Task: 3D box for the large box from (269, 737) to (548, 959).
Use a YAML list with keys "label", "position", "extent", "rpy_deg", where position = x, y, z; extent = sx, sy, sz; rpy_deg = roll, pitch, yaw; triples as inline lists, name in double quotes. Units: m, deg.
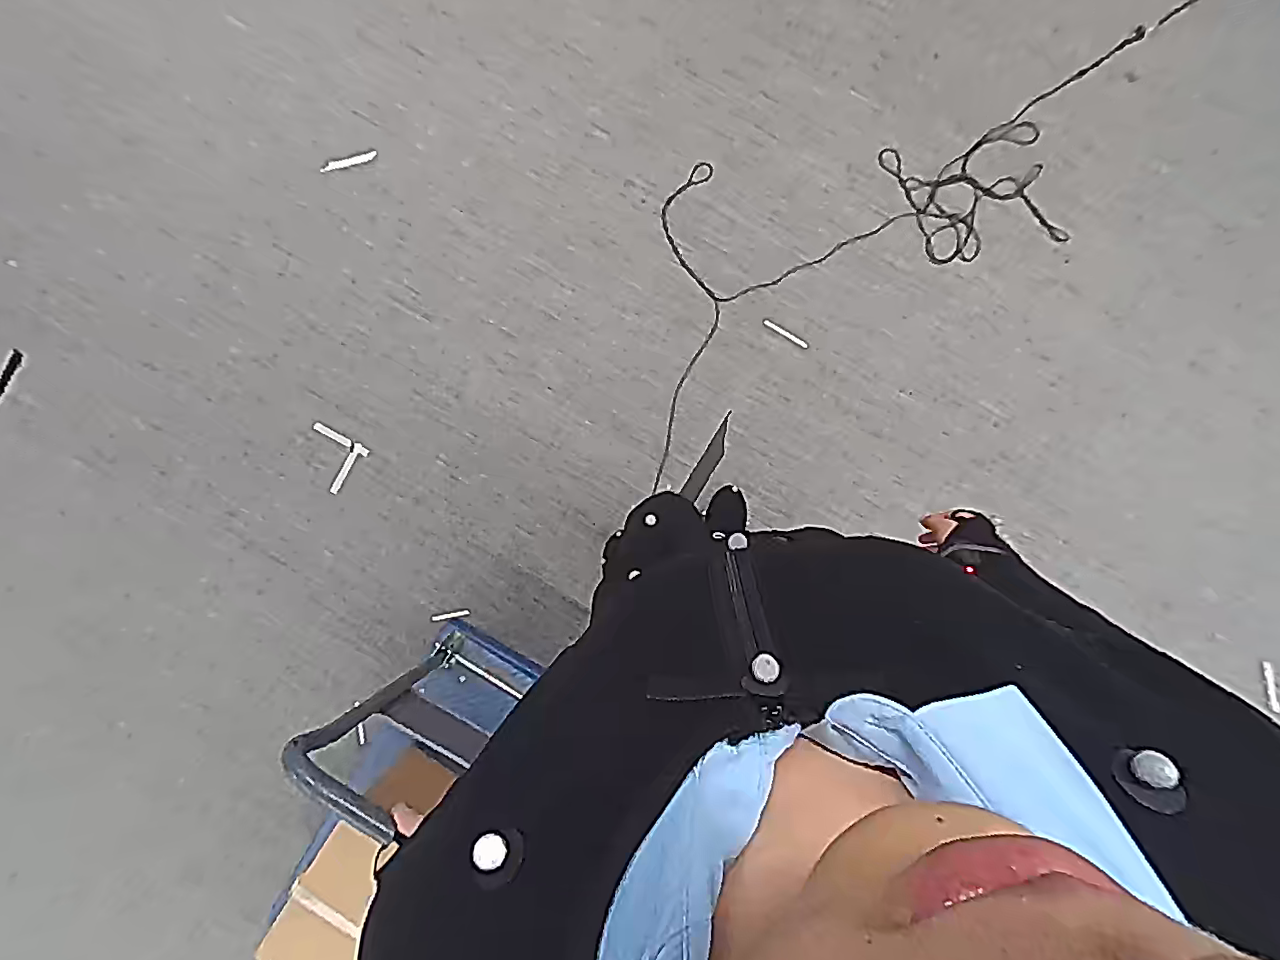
- label: "large box"
  position: [-0.471, 0.856, 1.187]
  extent: [0.408, 0.320, 0.320]
  rpy_deg: [32, 90, 1]
